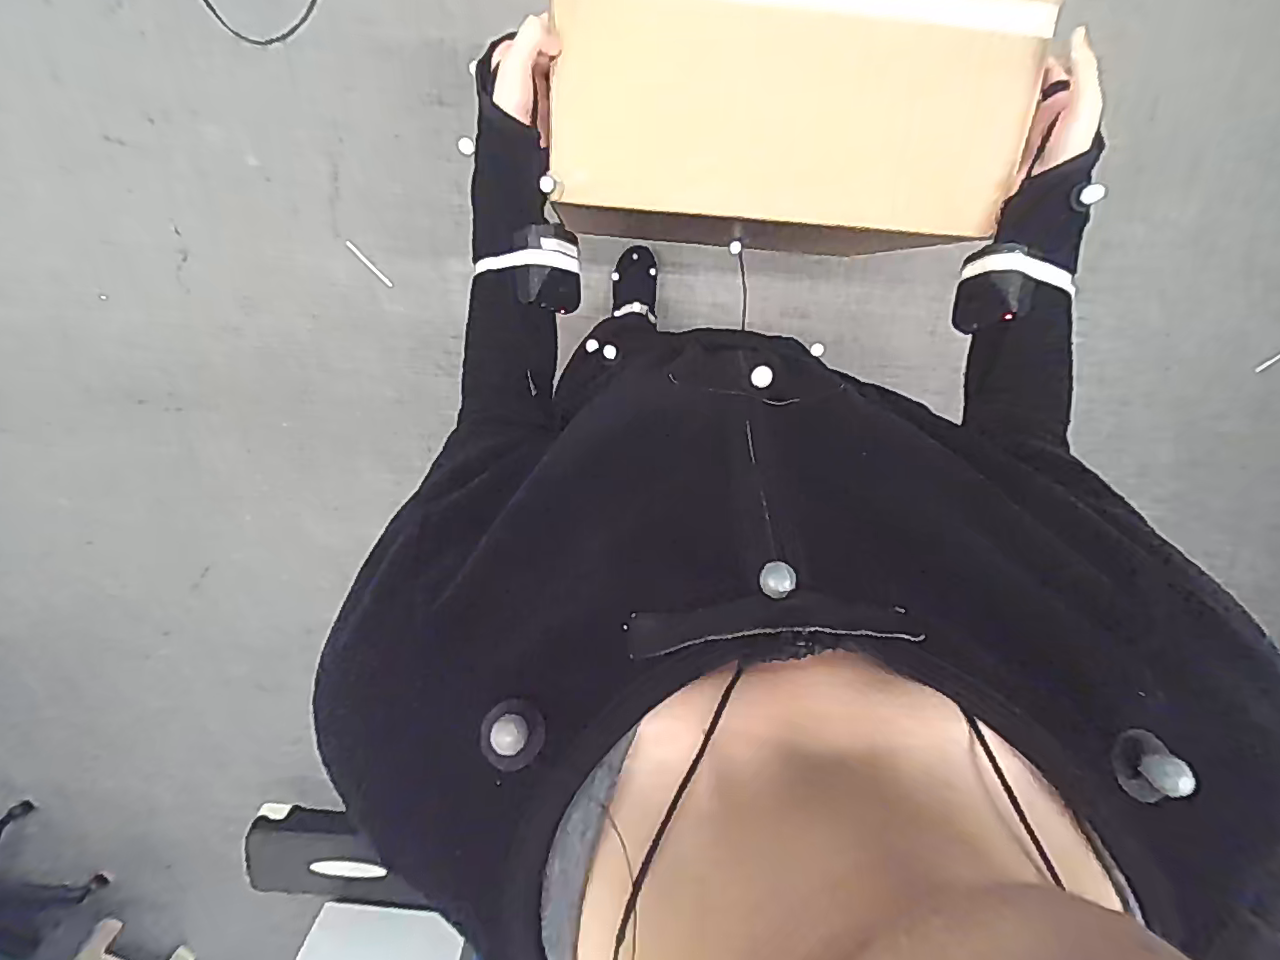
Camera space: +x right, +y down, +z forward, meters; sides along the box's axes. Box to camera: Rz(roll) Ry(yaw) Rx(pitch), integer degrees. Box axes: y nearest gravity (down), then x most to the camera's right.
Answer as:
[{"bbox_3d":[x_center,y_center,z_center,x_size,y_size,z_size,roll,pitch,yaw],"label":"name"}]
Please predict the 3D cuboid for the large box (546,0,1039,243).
[{"bbox_3d":[0.119,-0.433,0.571,0.408,0.320,0.320,2,109,-4],"label":"large box"}]
